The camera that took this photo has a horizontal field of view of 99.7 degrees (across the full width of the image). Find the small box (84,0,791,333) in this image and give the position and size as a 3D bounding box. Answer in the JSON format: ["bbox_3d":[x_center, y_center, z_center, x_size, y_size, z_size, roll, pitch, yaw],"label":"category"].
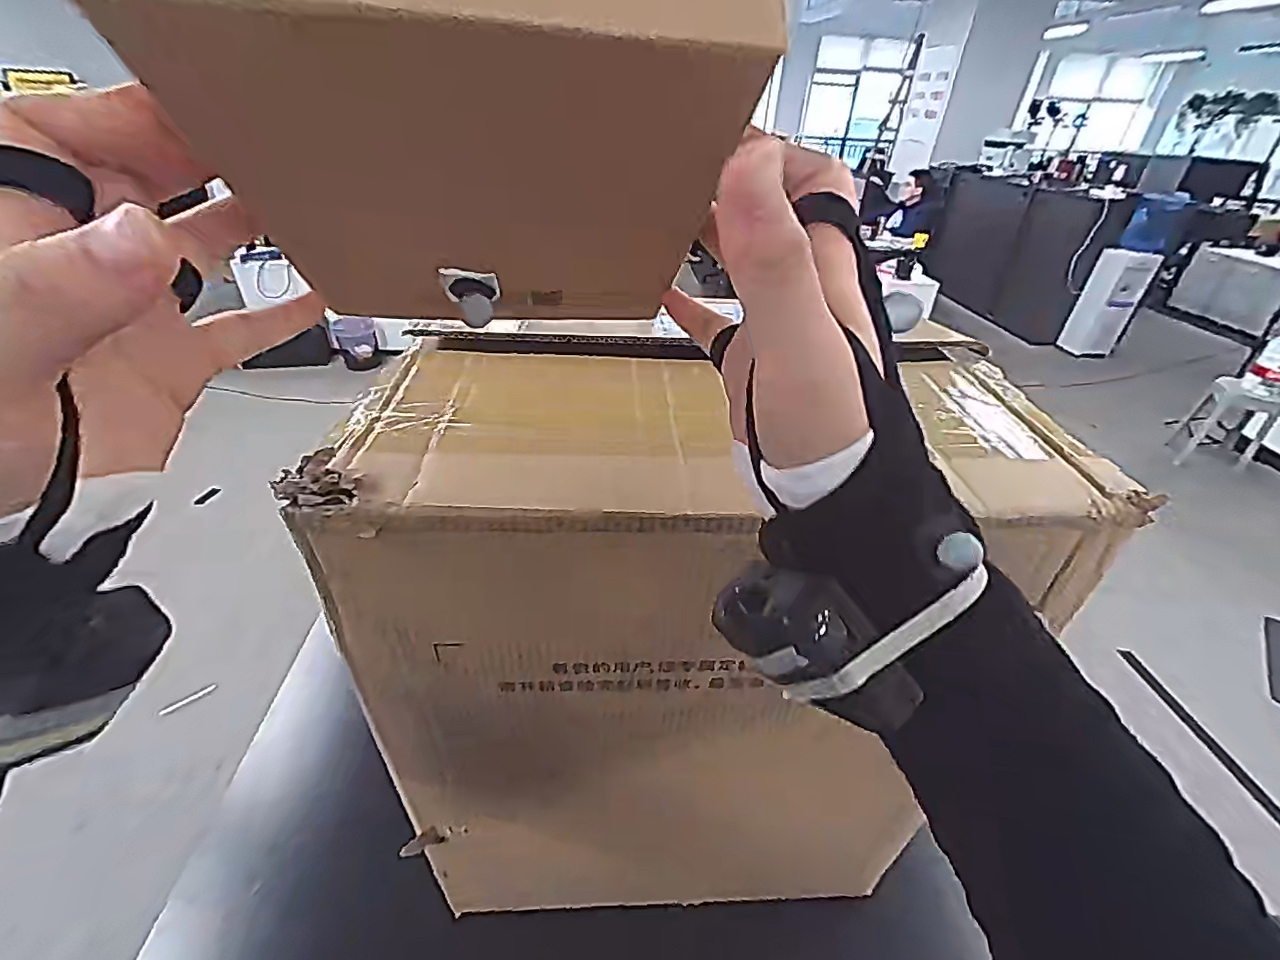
[{"bbox_3d":[-0.061,-0.175,0.217,0.168,0.179,0.176,-5,-6,-10],"label":"small box"}]
